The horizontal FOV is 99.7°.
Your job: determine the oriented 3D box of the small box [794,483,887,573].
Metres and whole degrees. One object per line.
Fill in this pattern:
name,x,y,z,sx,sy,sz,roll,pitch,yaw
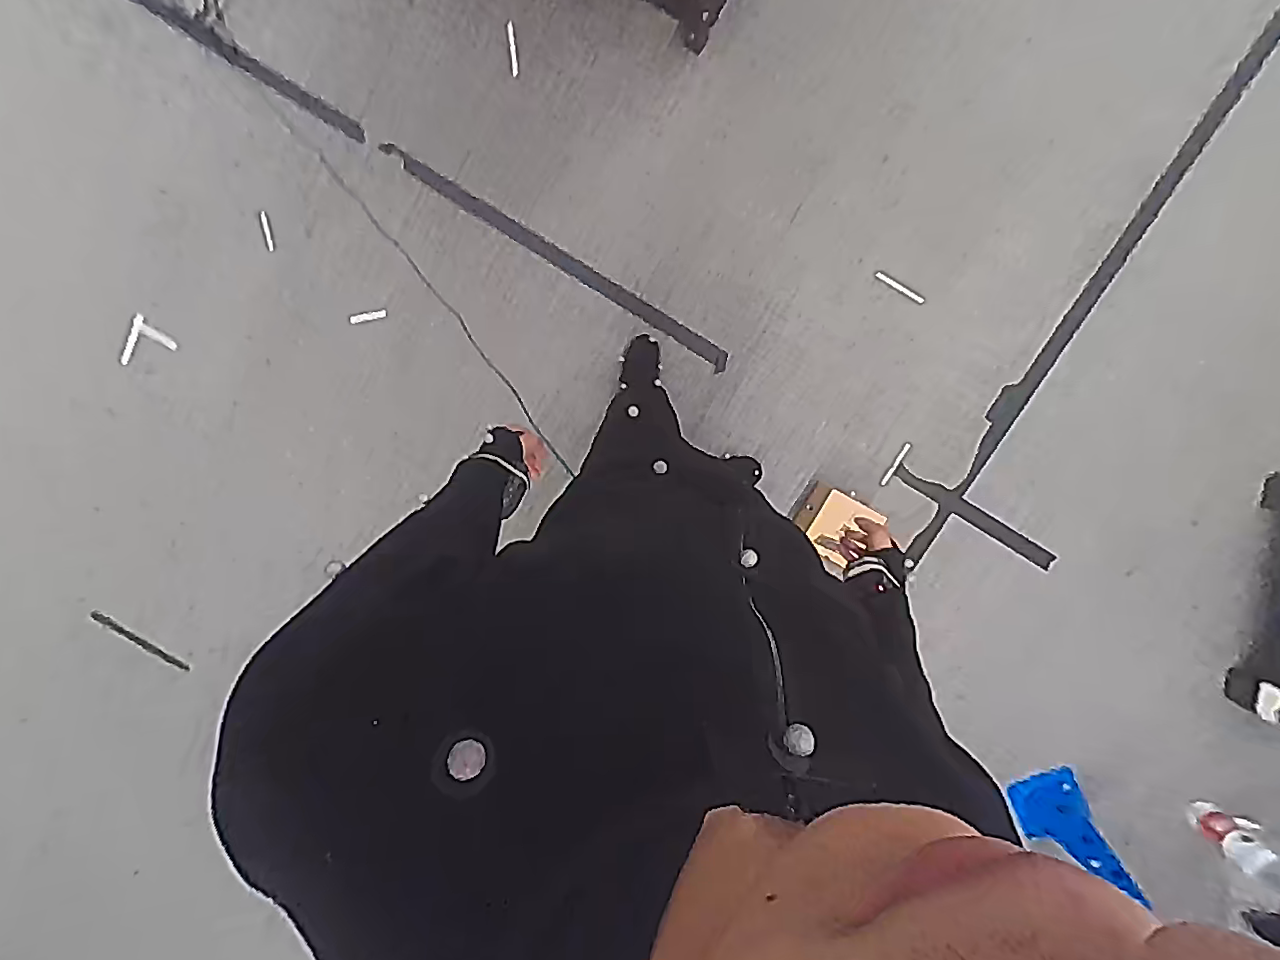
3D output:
small box,0.552,0.128,1.520,0.168,0.176,0.179,29,99,1
